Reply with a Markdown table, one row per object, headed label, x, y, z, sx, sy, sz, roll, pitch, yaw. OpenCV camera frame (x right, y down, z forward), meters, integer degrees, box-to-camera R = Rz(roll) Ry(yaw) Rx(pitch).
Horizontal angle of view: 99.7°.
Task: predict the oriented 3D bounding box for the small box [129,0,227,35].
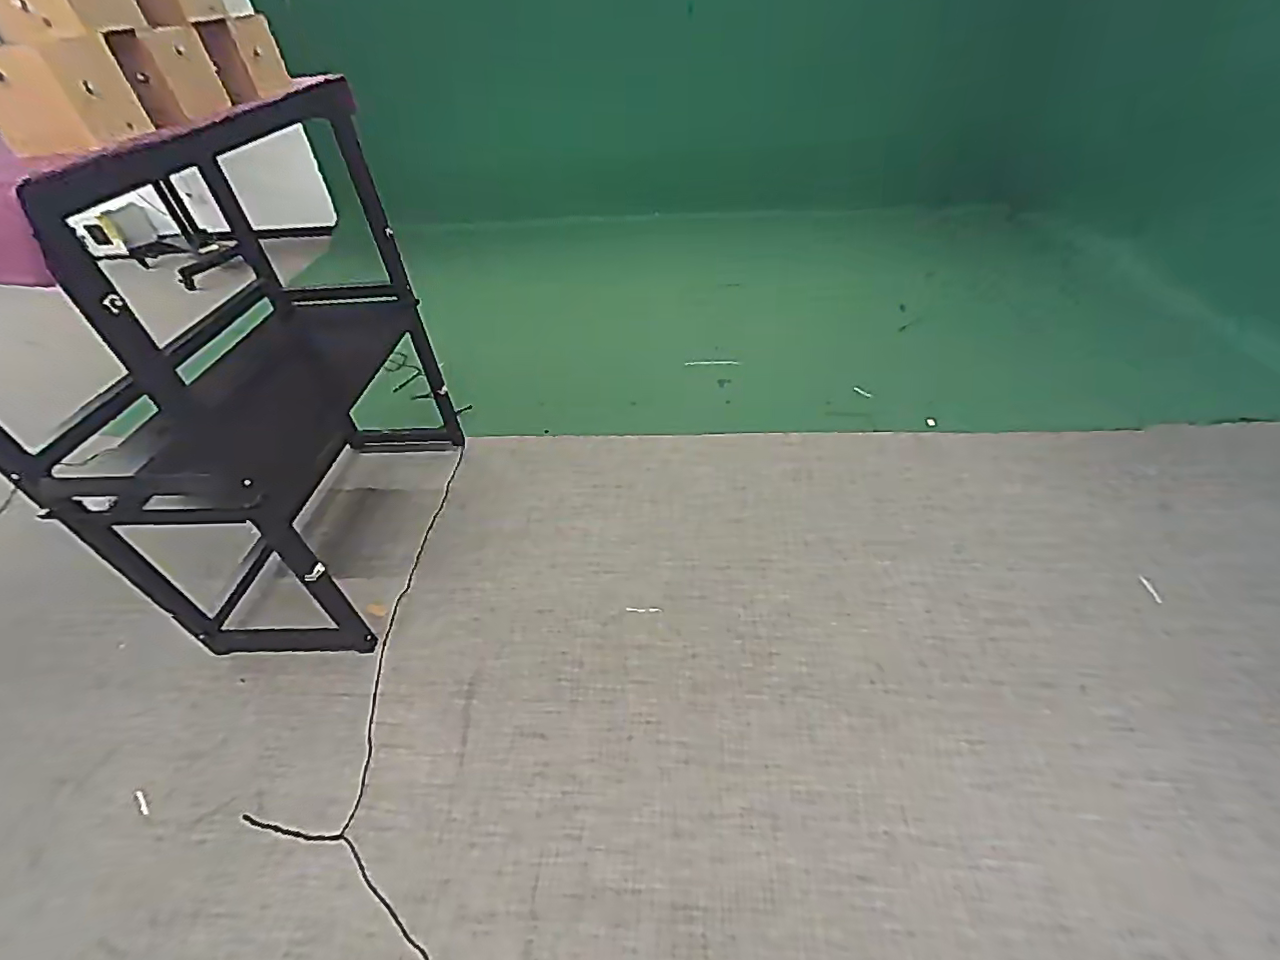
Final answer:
| label | x | y | z | sx | sy | sz | roll | pitch | yaw |
| --- | --- | --- | --- | --- | --- | --- | --- | --- | --- |
| small box | -1.104 | -1.127 | 1.230 | 0.179 | 0.176 | 0.168 | -2 | 43 | 4 |

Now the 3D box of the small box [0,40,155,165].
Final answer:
| label | x | y | z | sx | sy | sz | roll | pitch | yaw |
| --- | --- | --- | --- | --- | --- | --- | --- | --- | --- |
| small box | -1.107 | -0.722 | 1.037 | 0.179 | 0.176 | 0.168 | -3 | 43 | 4 |

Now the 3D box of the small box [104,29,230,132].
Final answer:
| label | x | y | z | sx | sy | sz | roll | pitch | yaw |
| --- | --- | --- | --- | --- | --- | --- | --- | --- | --- |
| small box | -1.100 | -0.909 | 1.238 | 0.168 | 0.176 | 0.179 | -1 | 43 | 5 |

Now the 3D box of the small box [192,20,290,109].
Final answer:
| label | x | y | z | sx | sy | sz | roll | pitch | yaw |
| --- | --- | --- | --- | --- | --- | --- | --- | --- | --- |
| small box | -1.086 | -1.109 | 1.450 | 0.168 | 0.176 | 0.179 | -1 | 45 | 3 |

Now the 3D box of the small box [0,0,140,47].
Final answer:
| label | x | y | z | sx | sy | sz | roll | pitch | yaw |
| --- | --- | --- | --- | --- | --- | --- | --- | --- | --- |
| small box | -1.123 | -0.940 | 1.031 | 0.168 | 0.176 | 0.179 | -2 | 43 | 4 |
